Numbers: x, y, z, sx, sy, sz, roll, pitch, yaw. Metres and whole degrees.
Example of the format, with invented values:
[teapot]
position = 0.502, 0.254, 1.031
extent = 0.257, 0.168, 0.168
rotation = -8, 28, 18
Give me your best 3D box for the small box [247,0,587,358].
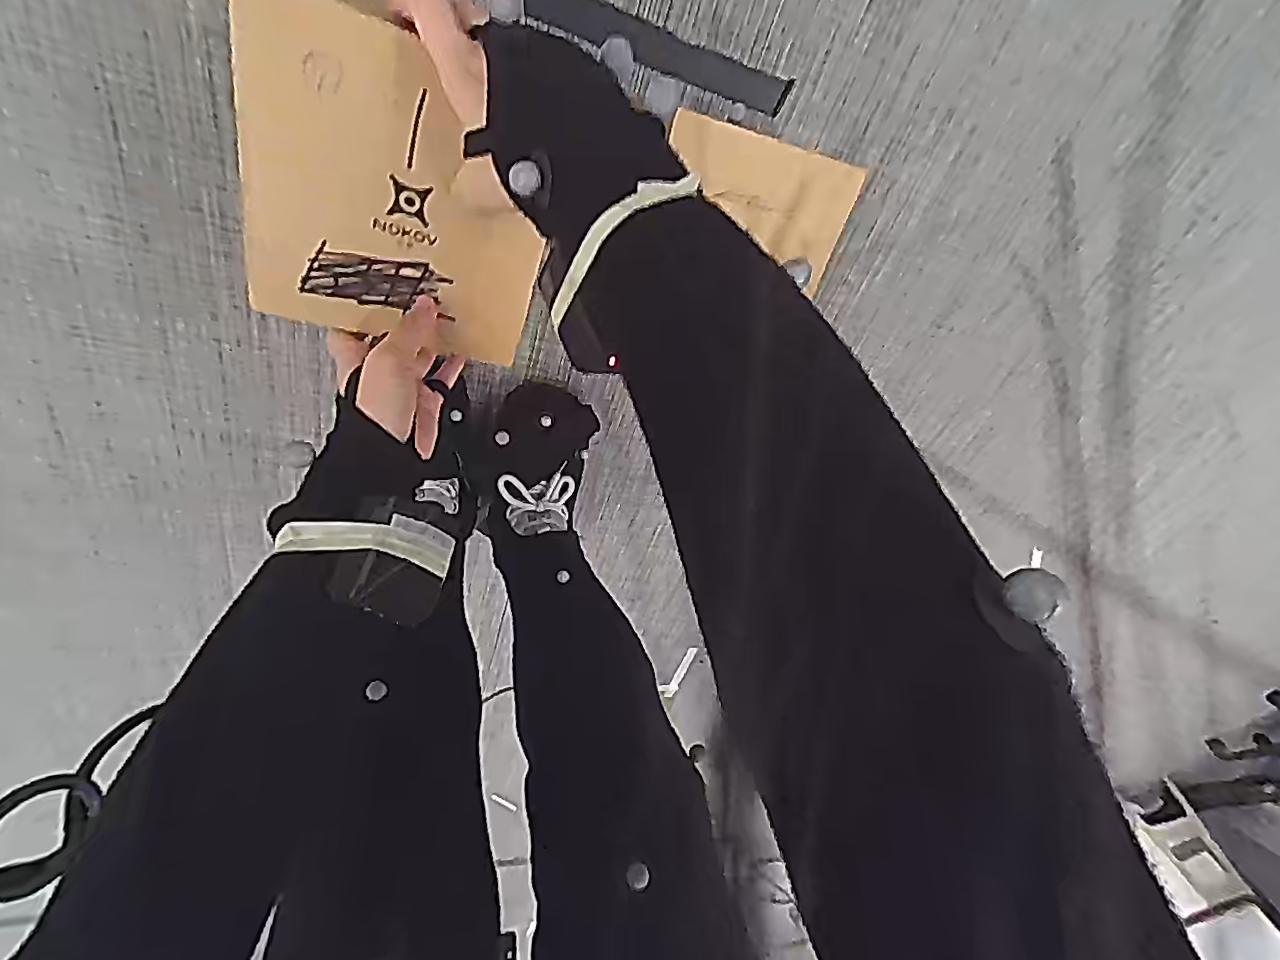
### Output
[small box]
position = -0.146, -0.219, 0.377
extent = 0.168, 0.176, 0.179
rotation = 9, 131, -23
